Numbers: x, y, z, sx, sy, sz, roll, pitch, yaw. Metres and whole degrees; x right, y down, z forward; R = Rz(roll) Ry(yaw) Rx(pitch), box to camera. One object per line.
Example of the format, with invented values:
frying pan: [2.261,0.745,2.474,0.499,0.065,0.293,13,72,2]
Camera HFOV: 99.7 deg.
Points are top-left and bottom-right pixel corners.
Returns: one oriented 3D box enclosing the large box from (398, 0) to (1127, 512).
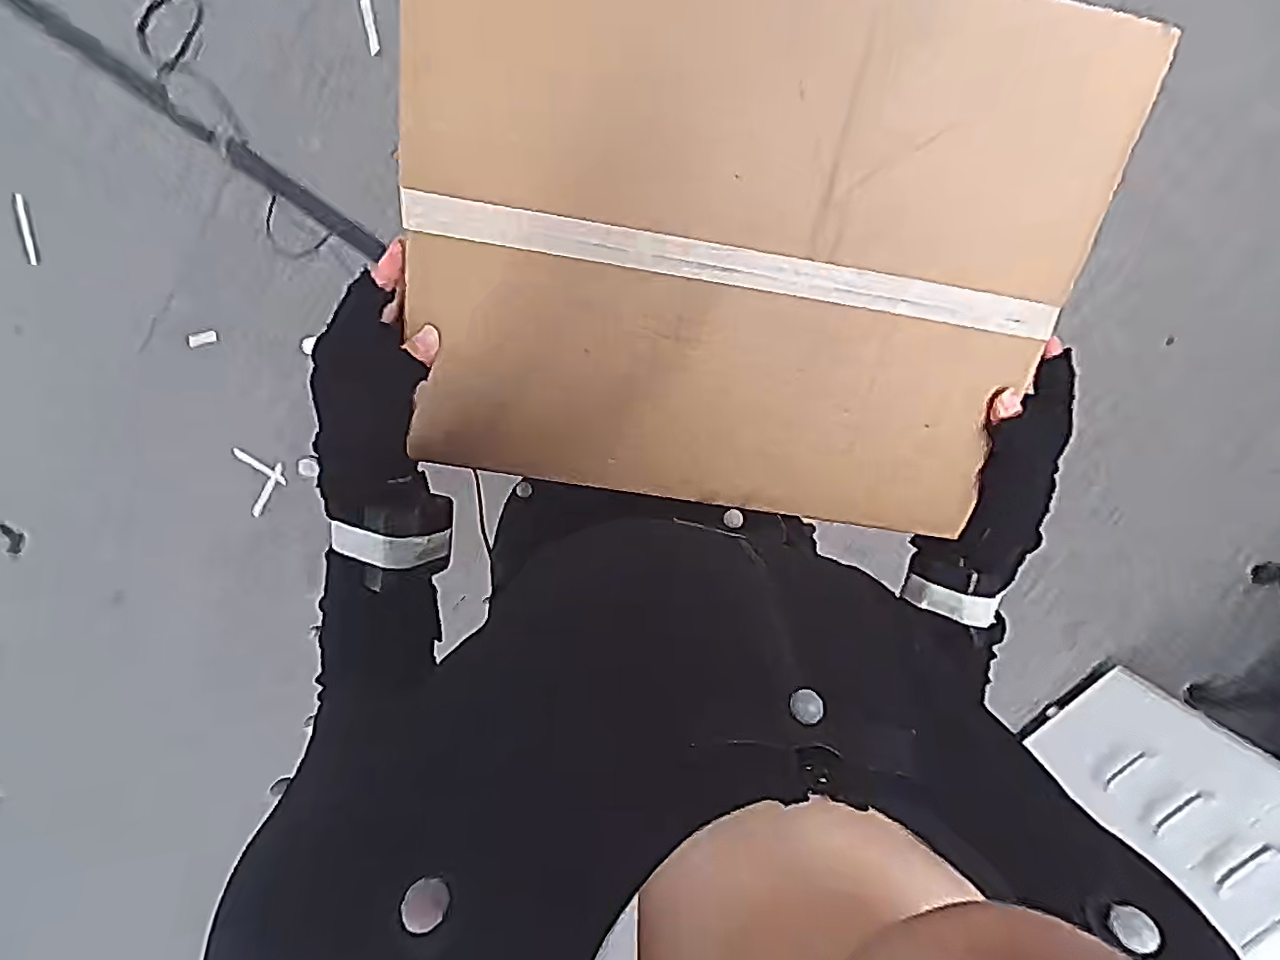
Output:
large box: [0.049,-0.192,0.477,0.408,0.320,0.320,7,114,-5]
